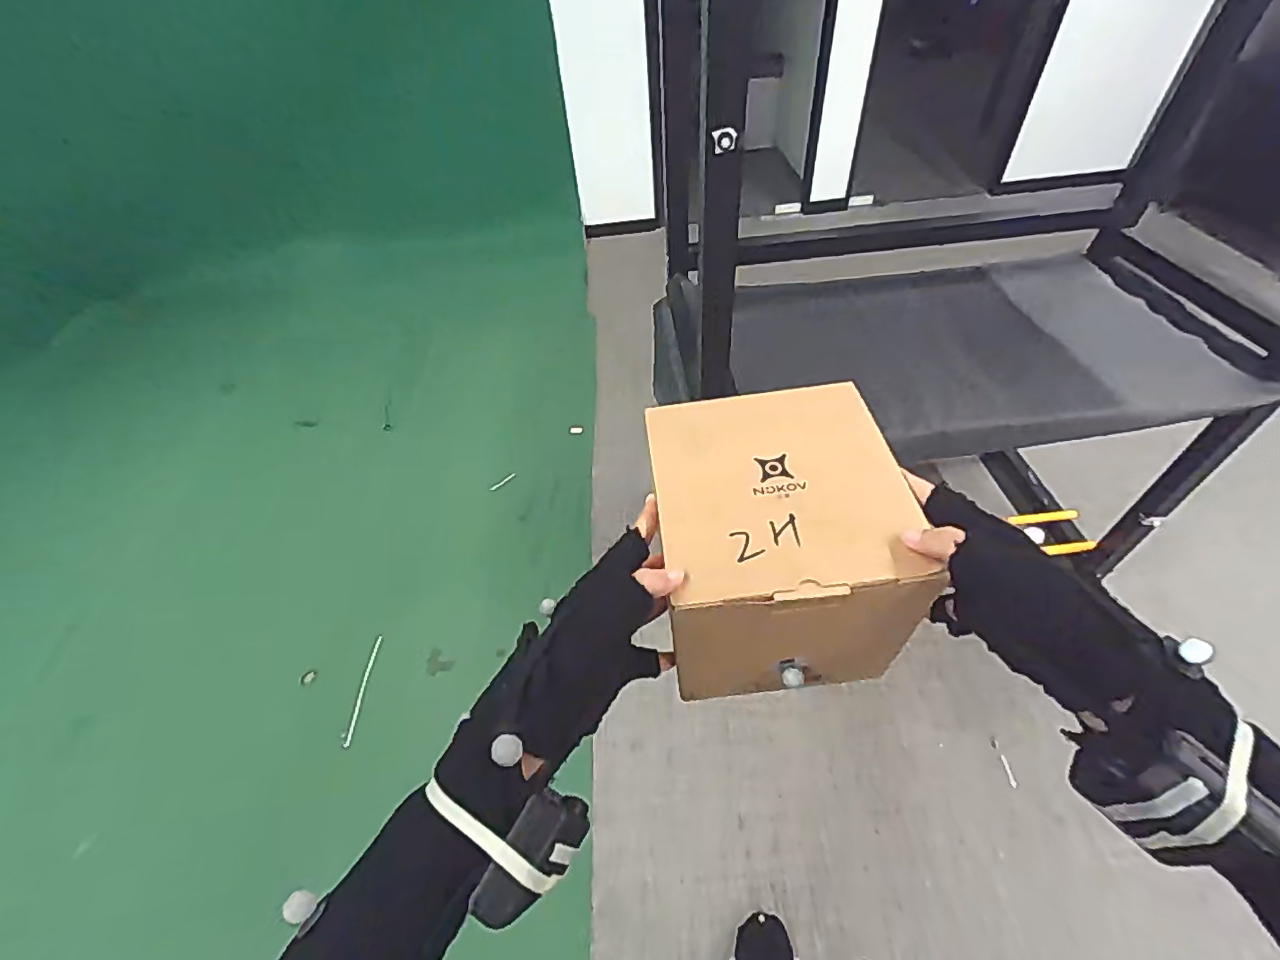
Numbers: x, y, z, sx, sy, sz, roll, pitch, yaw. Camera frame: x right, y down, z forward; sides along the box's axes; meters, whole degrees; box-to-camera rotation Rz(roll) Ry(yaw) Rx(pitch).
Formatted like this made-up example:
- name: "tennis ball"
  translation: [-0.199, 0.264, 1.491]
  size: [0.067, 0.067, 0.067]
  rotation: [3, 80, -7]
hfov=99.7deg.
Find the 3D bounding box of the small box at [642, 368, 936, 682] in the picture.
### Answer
- name: "small box"
  translation: [0.094, 0.038, 0.430]
  size: [0.168, 0.176, 0.179]
  rotation: [-7, 49, 2]
